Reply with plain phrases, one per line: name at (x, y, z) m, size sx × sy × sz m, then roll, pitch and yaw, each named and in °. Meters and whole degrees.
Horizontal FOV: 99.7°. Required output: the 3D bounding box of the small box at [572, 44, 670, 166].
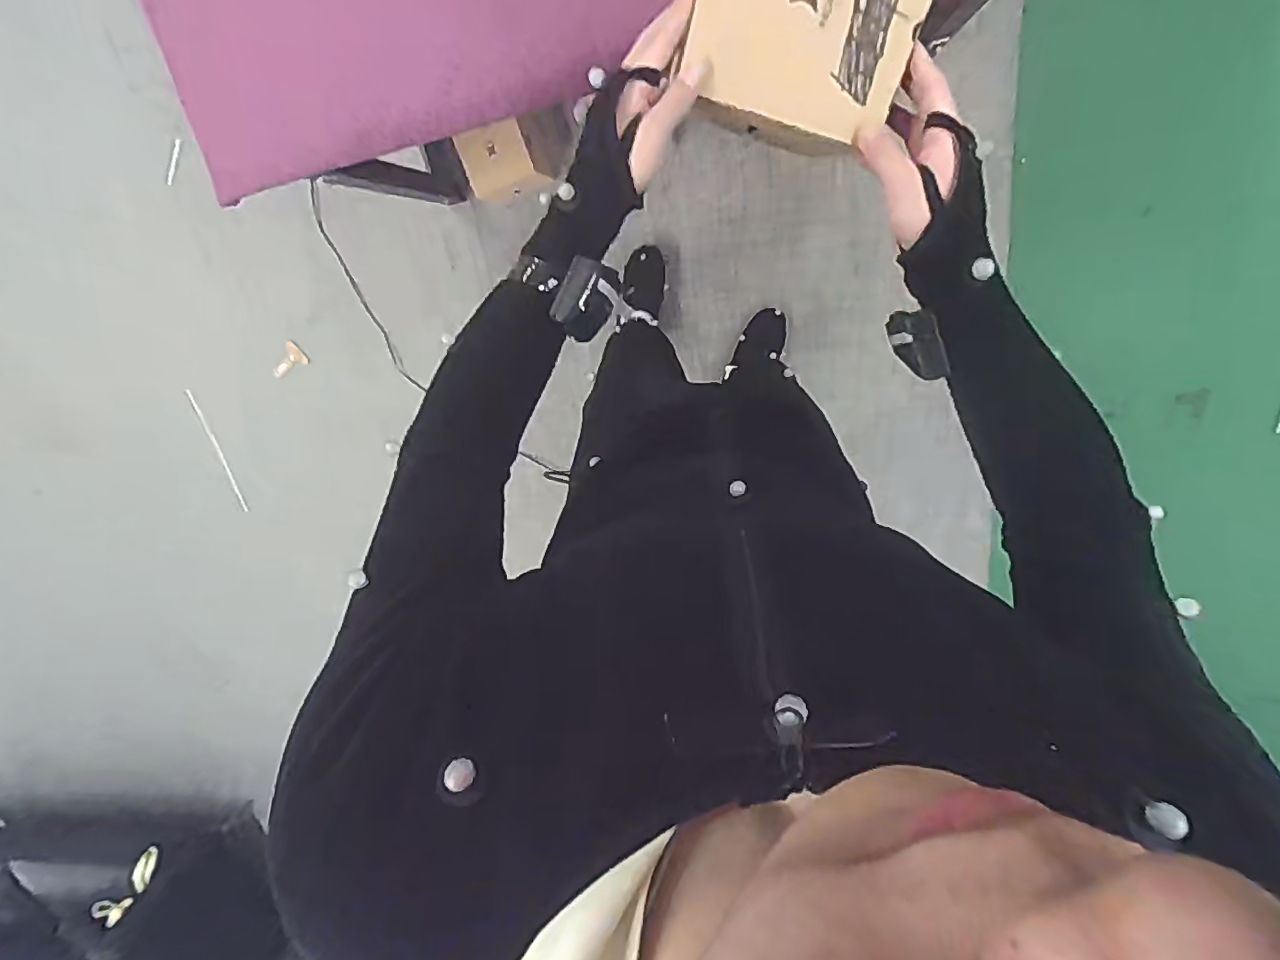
small box at (-0.034, -0.858, 1.255) m, size 0.179 × 0.176 × 0.168 m, roll -13°, pitch 108°, yaw 15°

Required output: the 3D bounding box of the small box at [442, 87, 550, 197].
small box at (-0.341, -0.814, 1.324) m, size 0.168 × 0.176 × 0.179 m, roll -15°, pitch 109°, yaw 15°
